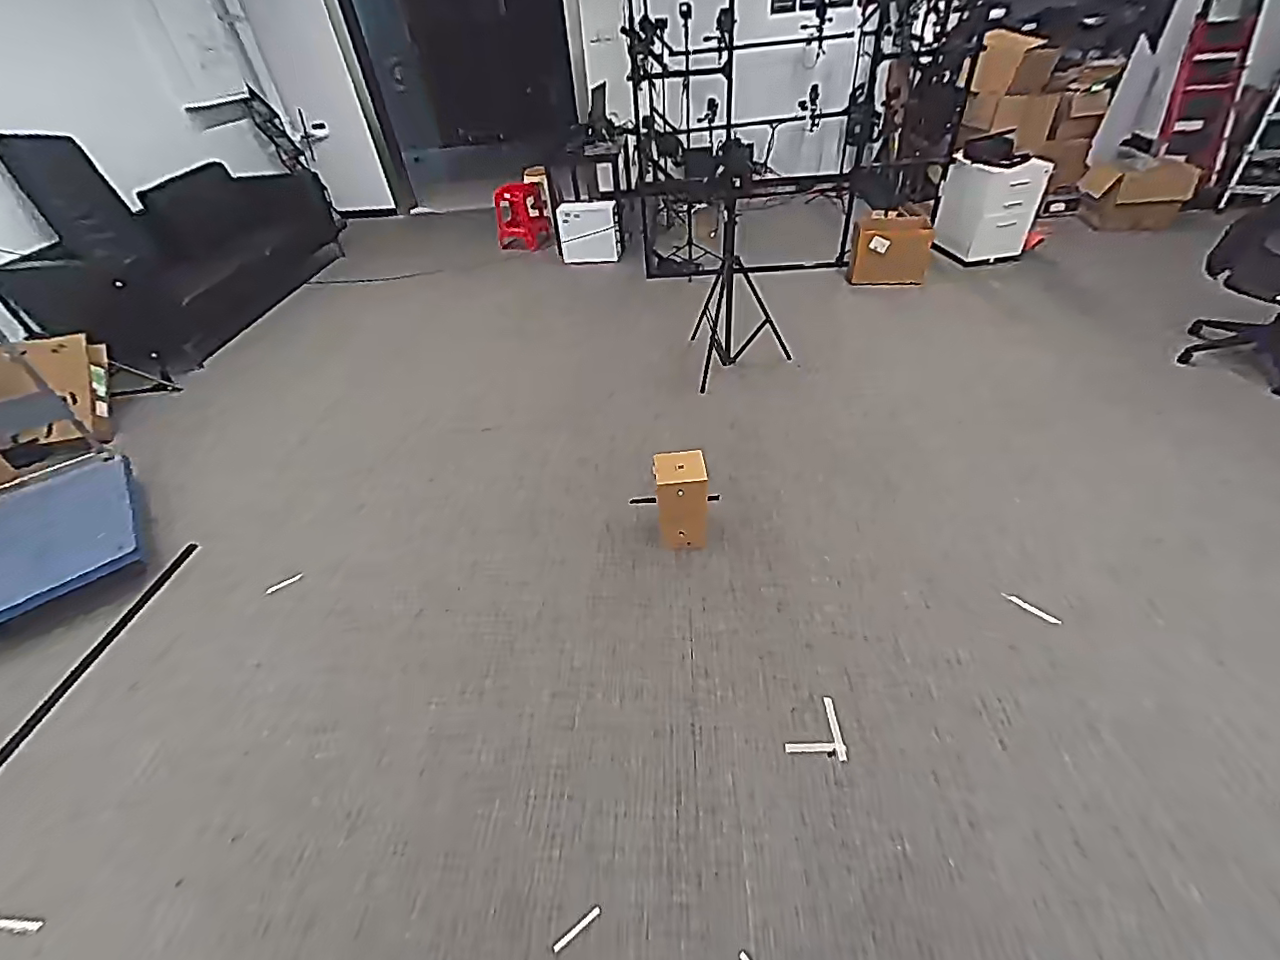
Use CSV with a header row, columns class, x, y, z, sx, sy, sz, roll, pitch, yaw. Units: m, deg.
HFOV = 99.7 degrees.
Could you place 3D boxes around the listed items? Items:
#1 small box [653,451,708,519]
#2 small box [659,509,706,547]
class,x,y,z,sx,sy,sz,roll,pitch,yaw
small box,0.143,0.019,1.919,0.179,0.176,0.168,-7,41,1
small box,0.163,0.135,2.032,0.168,0.176,0.179,0,41,7
